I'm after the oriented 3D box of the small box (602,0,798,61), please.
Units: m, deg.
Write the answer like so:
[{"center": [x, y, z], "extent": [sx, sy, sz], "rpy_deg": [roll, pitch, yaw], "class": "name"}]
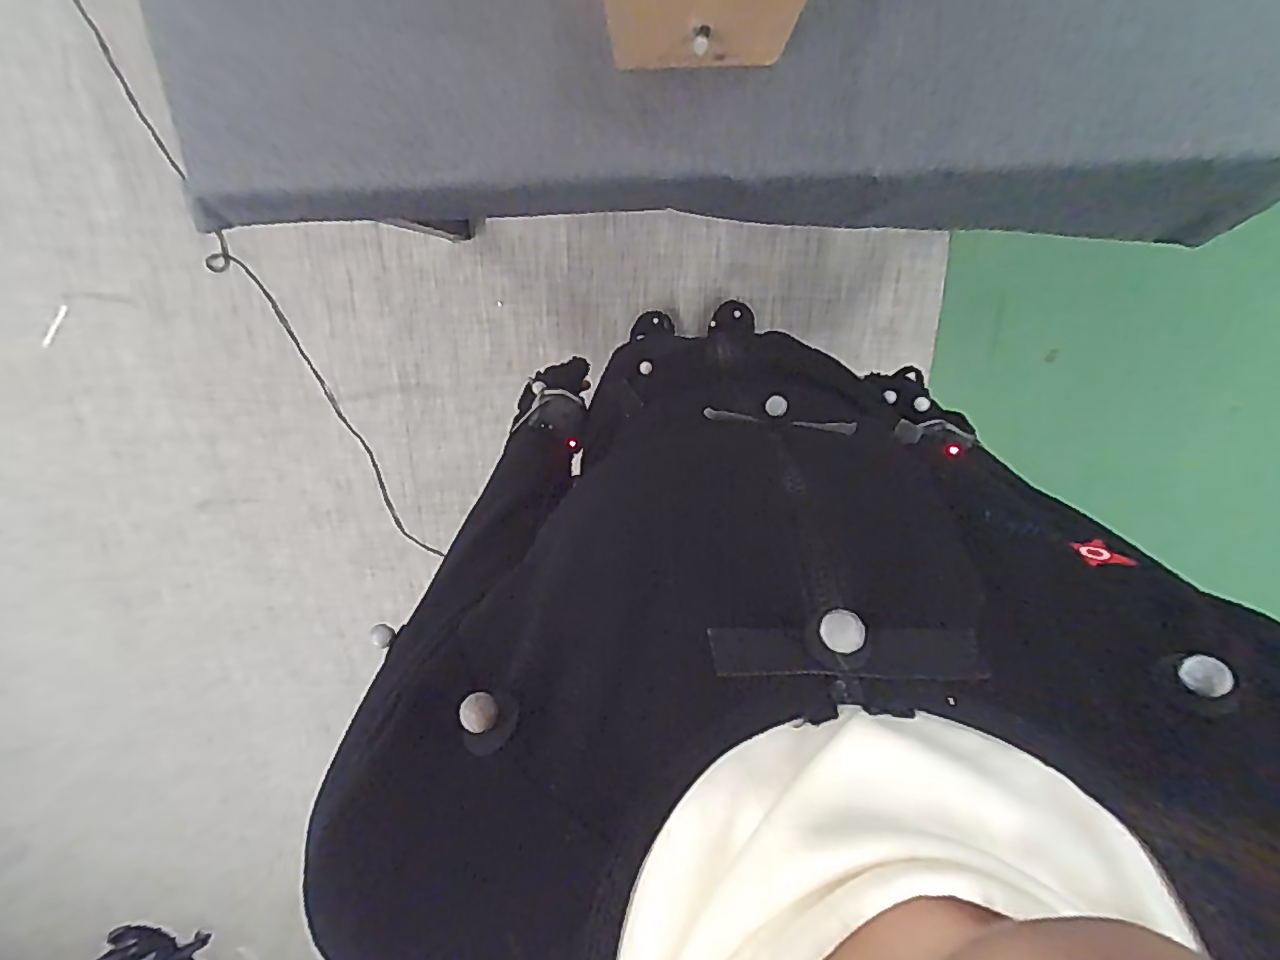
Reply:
[{"center": [0.053, -0.477, 0.449], "extent": [0.168, 0.176, 0.179], "rpy_deg": [0, 109, 2], "class": "small box"}]
